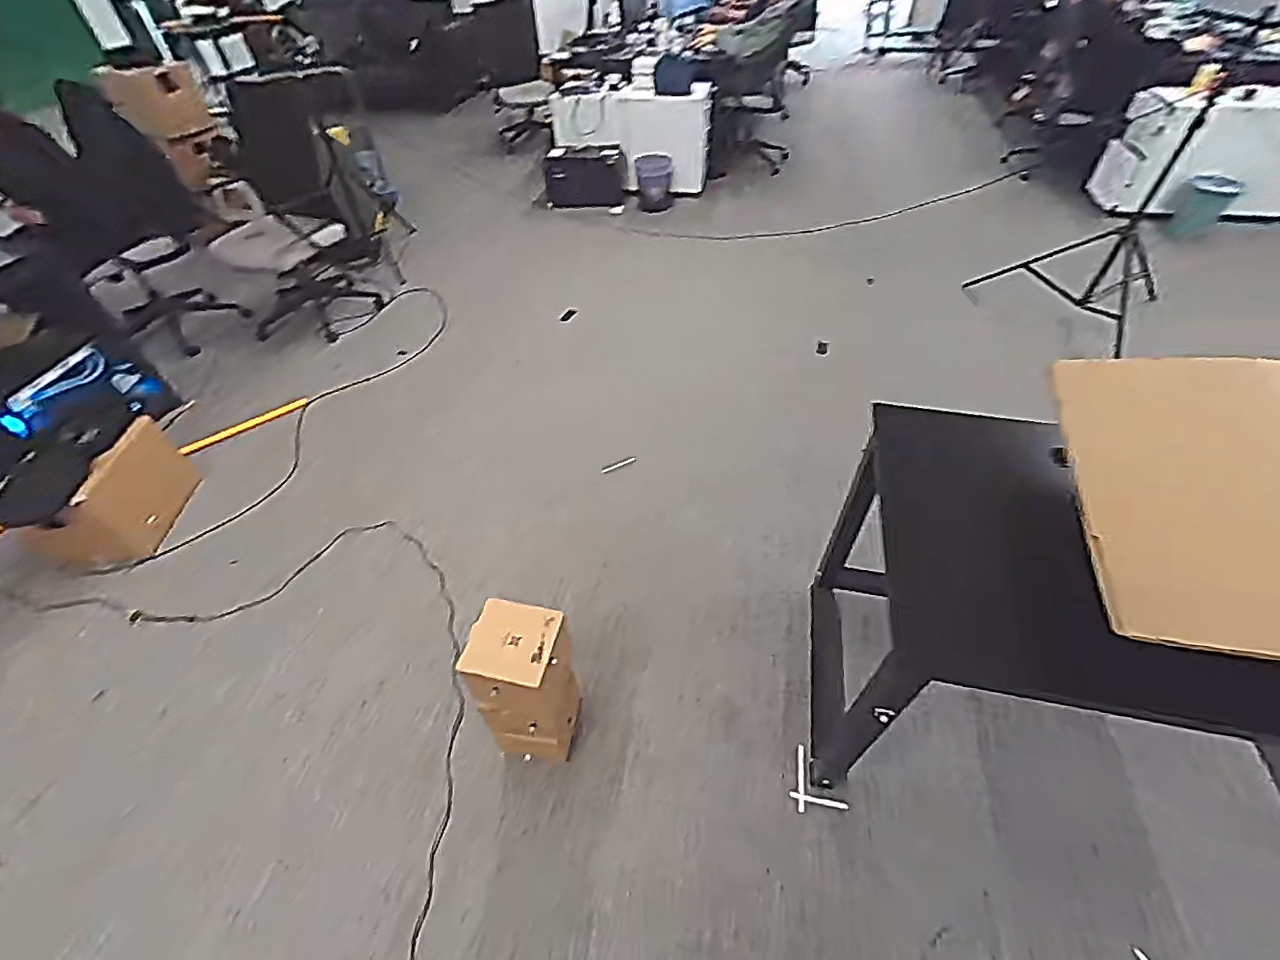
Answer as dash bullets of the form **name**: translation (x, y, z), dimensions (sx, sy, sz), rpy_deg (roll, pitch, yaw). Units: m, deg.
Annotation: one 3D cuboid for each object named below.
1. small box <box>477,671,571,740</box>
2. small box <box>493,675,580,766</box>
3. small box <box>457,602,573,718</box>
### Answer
- **small box**: translation (-0.262, 0.494, 1.275), dimensions (0.168, 0.176, 0.179), rpy_deg (3, 46, 5)
- **small box**: translation (-0.255, 0.609, 1.389), dimensions (0.168, 0.176, 0.179), rpy_deg (5, 48, 8)
- **small box**: translation (-0.255, 0.385, 1.152), dimensions (0.179, 0.176, 0.168), rpy_deg (8, 48, 10)
